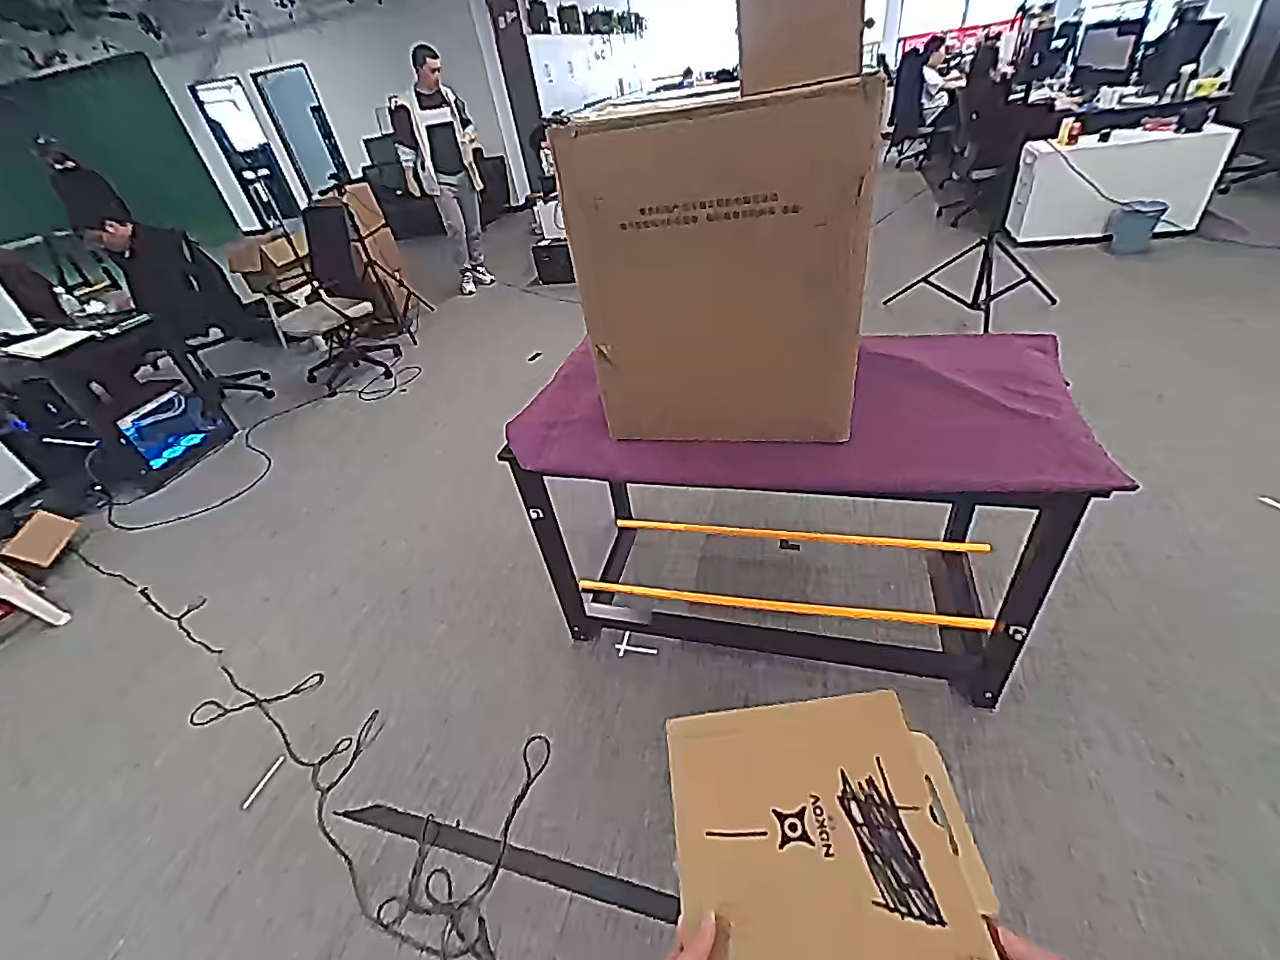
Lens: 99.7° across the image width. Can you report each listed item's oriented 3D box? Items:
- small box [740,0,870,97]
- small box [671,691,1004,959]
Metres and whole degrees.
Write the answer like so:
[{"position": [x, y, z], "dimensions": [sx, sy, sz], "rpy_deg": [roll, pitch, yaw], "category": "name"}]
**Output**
[{"position": [0.244, -0.686, 0.801], "dimensions": [0.179, 0.176, 0.168], "rpy_deg": [2, 40, 18], "category": "small box"}, {"position": [0.126, 0.282, 0.408], "dimensions": [0.179, 0.176, 0.168], "rpy_deg": [-10, 43, 6], "category": "small box"}]
